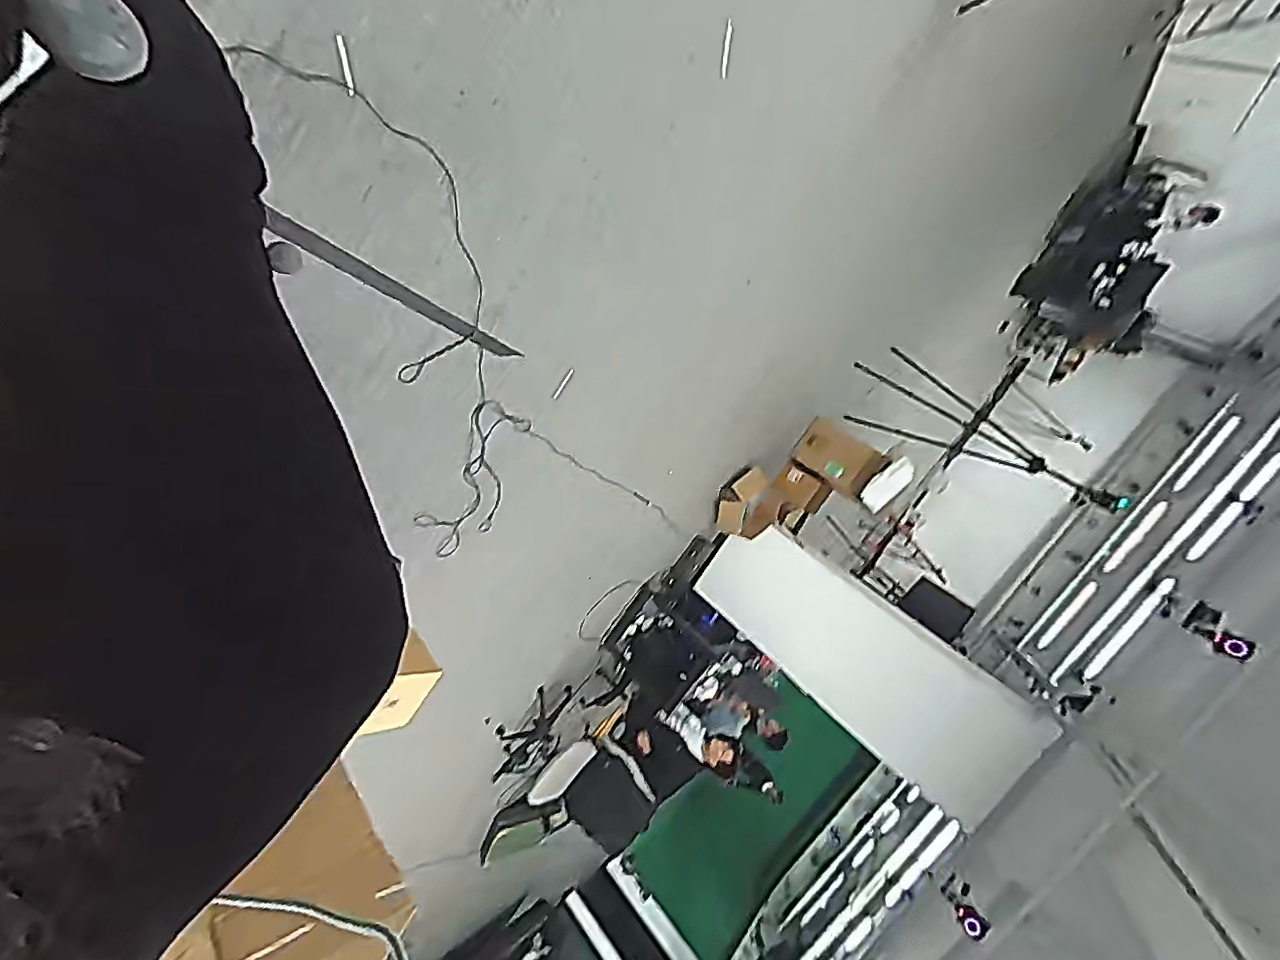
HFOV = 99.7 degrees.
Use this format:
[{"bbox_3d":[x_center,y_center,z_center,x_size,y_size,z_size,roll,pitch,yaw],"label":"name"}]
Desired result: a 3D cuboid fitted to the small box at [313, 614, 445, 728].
[{"bbox_3d":[-0.581,0.414,1.203,0.168,0.176,0.179,-54,149,8],"label":"small box"}]
